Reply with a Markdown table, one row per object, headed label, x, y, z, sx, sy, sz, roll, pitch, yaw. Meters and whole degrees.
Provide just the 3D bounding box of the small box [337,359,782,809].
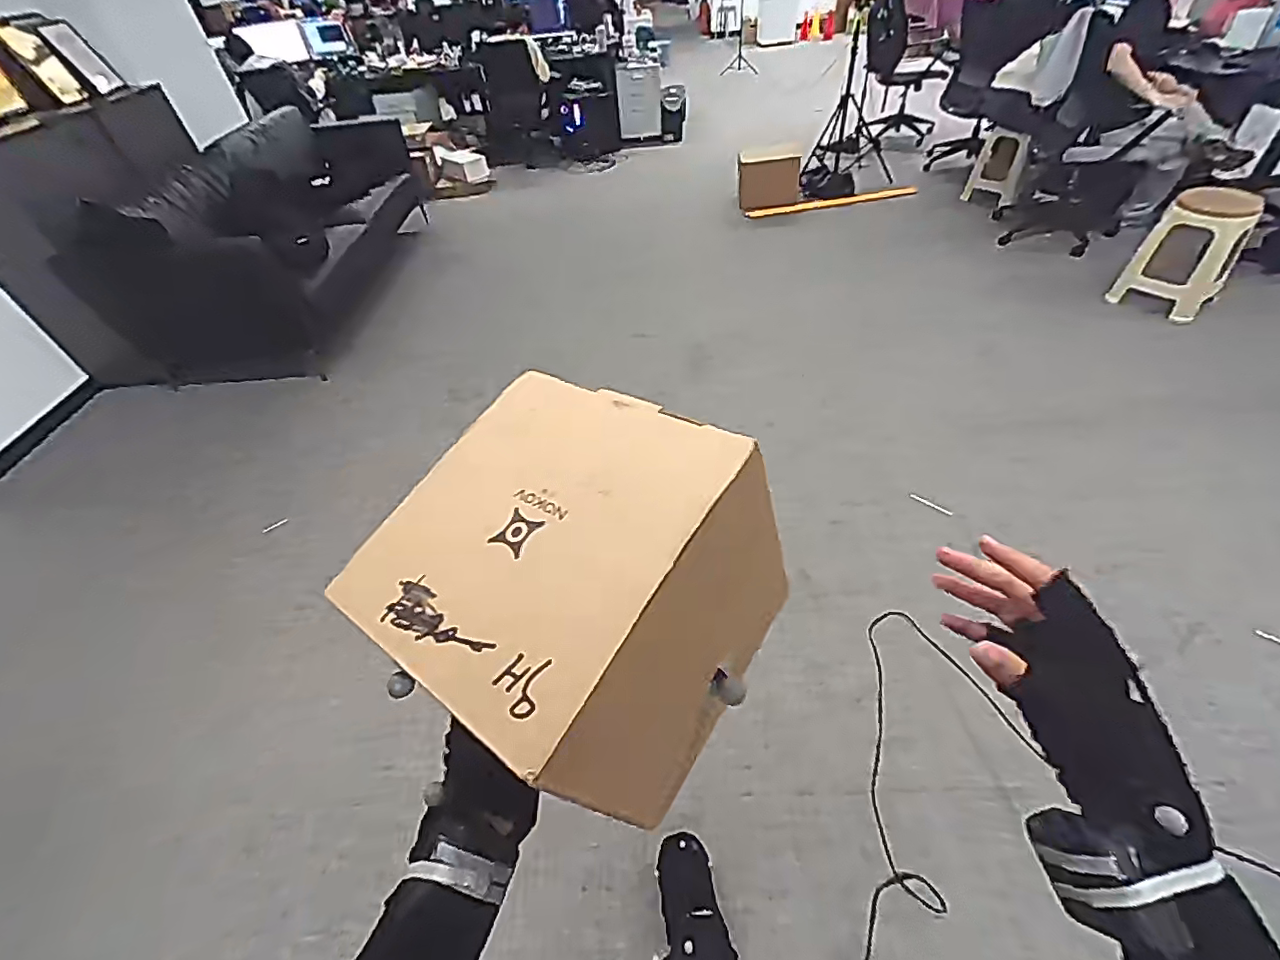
| label | x | y | z | sx | sy | sz | roll | pitch | yaw |
| --- | --- | --- | --- | --- | --- | --- | --- | --- | --- |
| small box | -0.026 | 0.060 | 0.329 | 0.168 | 0.176 | 0.179 | 23 | 64 | 34 |
